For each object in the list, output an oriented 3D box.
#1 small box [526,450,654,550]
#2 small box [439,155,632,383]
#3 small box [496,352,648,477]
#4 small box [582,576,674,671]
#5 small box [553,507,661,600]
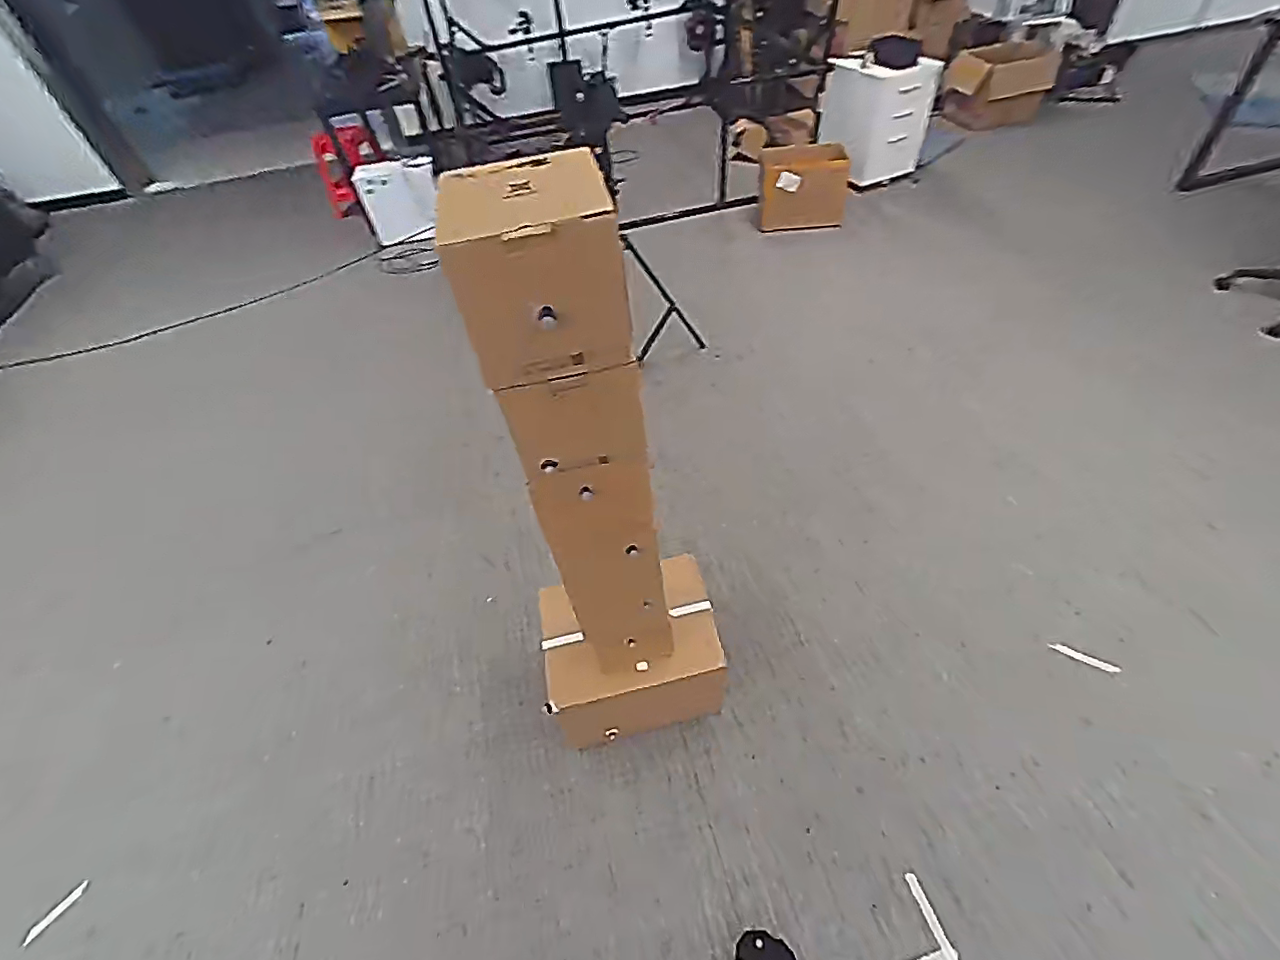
[{"bbox_3d":[-0.075,-0.013,0.848,0.179,0.176,0.168,-11,50,-3],"label":"small box"},{"bbox_3d":[-0.109,-0.225,0.599,0.168,0.176,0.179,-12,50,-3],"label":"small box"},{"bbox_3d":[-0.088,-0.121,0.724,0.168,0.176,0.179,-11,49,-3],"label":"small box"},{"bbox_3d":[-0.028,0.308,1.215,0.179,0.176,0.168,-14,50,-6],"label":"small box"},{"bbox_3d":[-0.060,0.093,0.969,0.179,0.176,0.168,-12,49,-3],"label":"small box"}]
